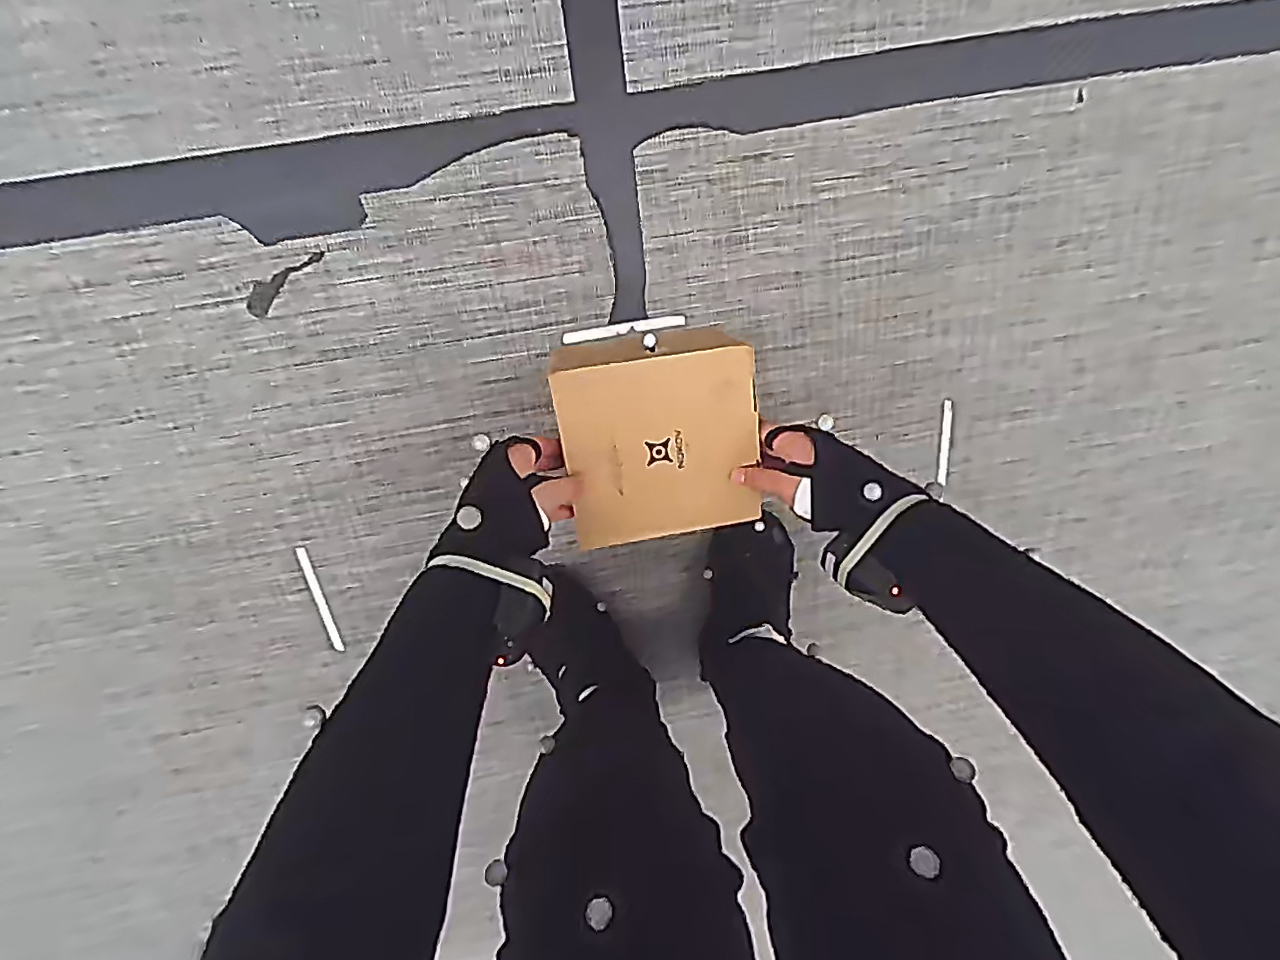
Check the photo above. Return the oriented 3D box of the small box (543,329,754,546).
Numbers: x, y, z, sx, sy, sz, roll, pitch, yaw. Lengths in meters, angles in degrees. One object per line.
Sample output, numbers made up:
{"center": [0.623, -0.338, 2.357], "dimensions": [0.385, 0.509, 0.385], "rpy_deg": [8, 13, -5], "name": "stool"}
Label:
{"center": [0.004, -0.055, 0.555], "dimensions": [0.179, 0.176, 0.168], "rpy_deg": [-10, 111, -3], "name": "small box"}
